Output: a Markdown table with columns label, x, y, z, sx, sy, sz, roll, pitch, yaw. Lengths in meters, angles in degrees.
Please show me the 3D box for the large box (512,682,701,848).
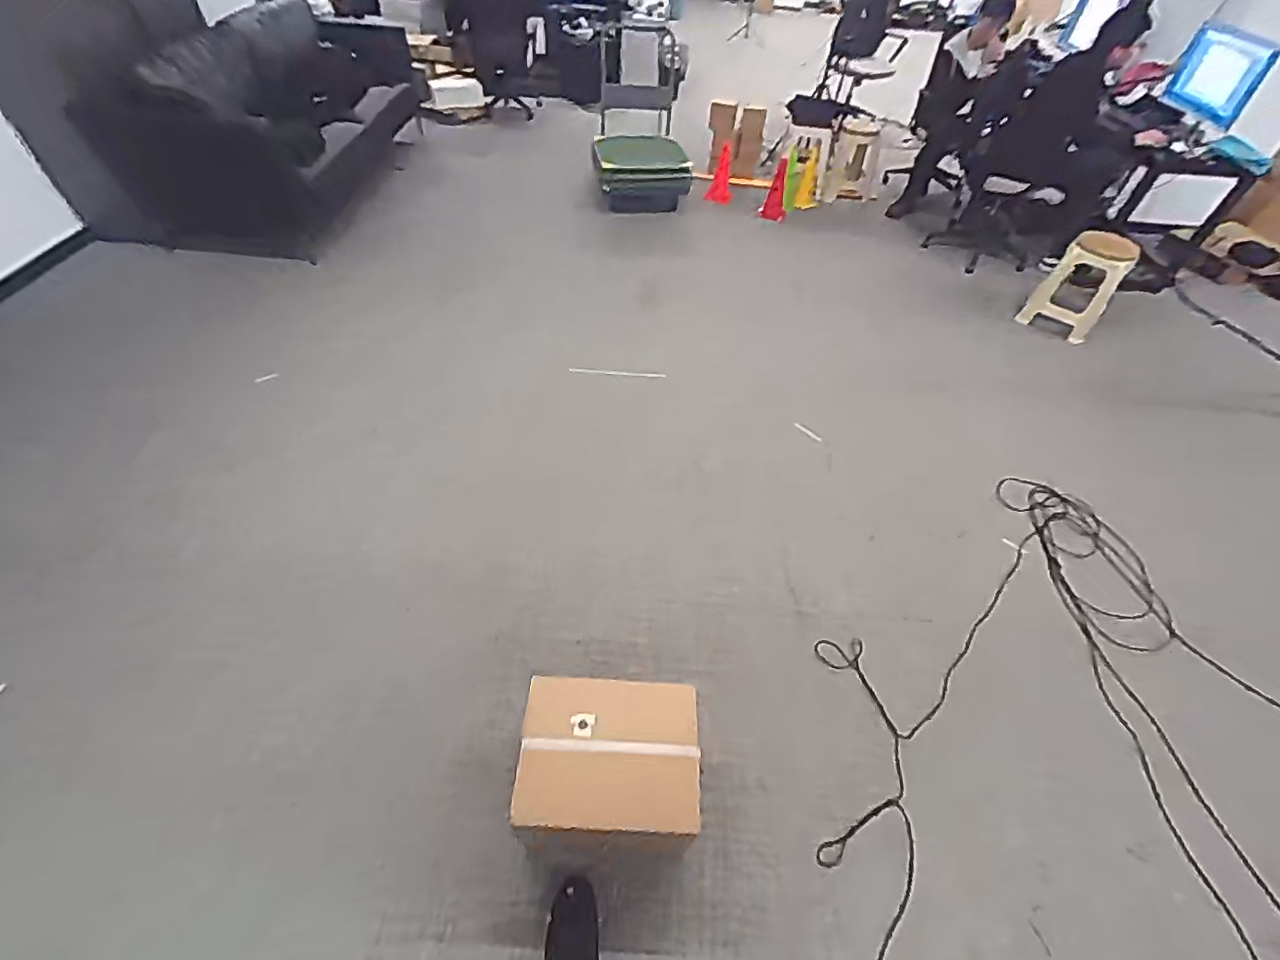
| label | x | y | z | sx | sy | sz | roll | pitch | yaw |
| --- | --- | --- | --- | --- | --- | --- | --- | --- | --- |
| large box | -0.074 | 0.712 | 1.340 | 0.408 | 0.320 | 0.320 | 2 | 48 | -1 |
